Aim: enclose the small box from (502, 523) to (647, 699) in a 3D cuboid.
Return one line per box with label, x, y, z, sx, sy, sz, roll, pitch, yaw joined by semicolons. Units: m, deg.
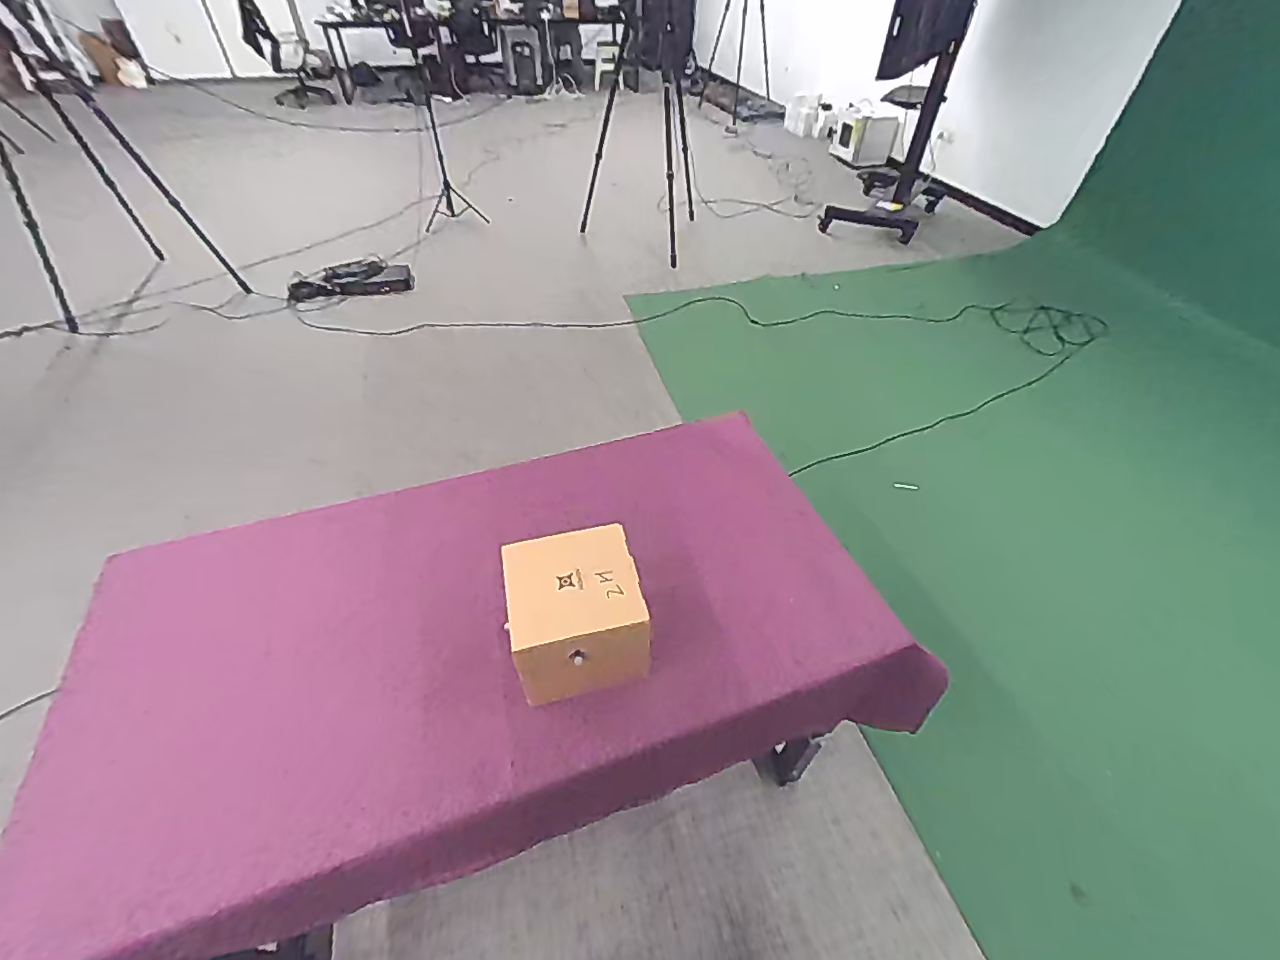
small box;-0.091;0.190;0.776;0.179;0.176;0.168;-10;47;-10
